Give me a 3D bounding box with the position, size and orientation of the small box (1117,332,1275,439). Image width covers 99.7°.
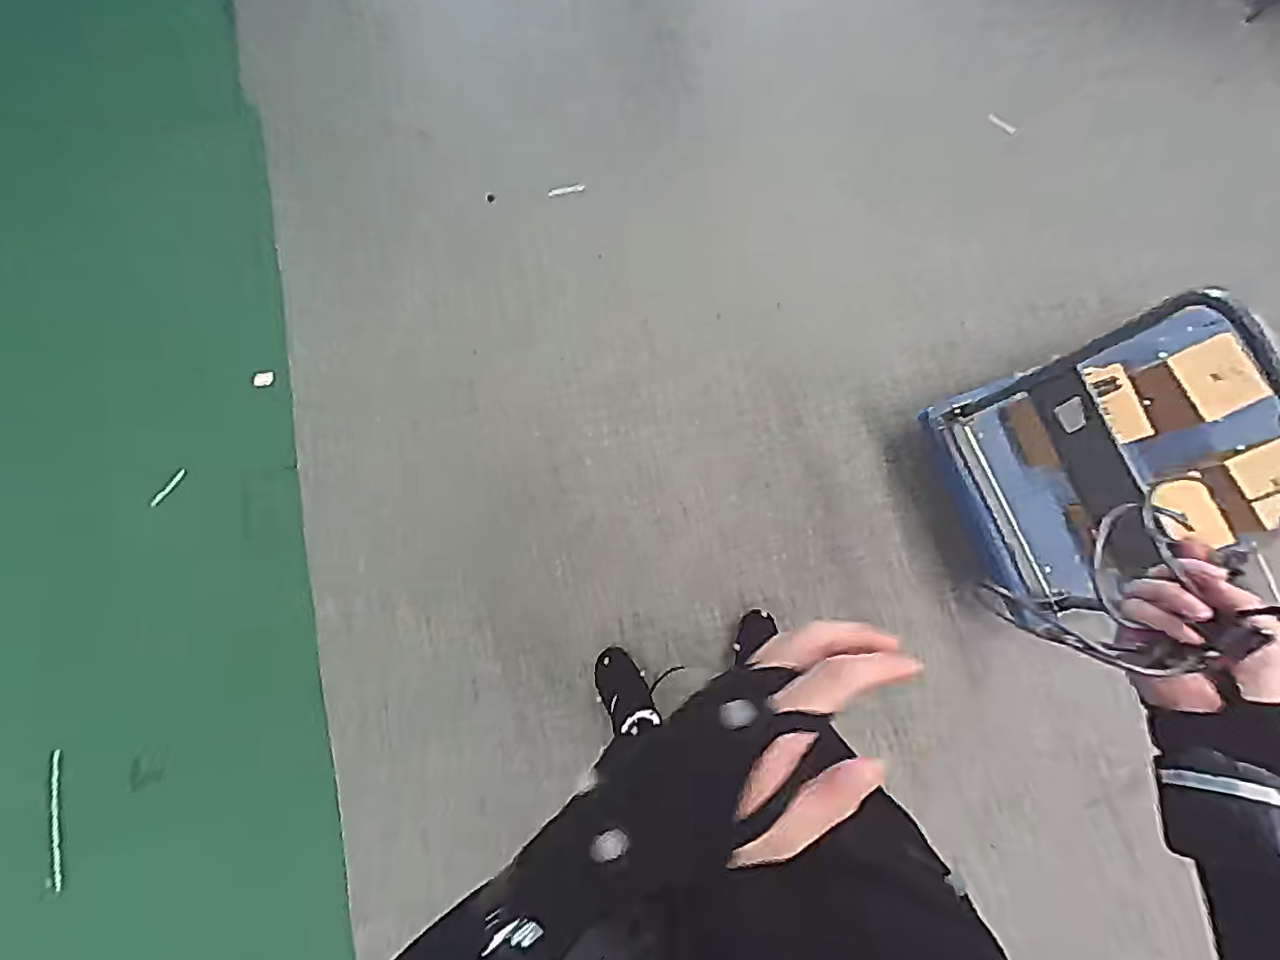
[{"bbox_3d":[1.289,-0.215,1.276,0.179,0.176,0.168,-23,81,-5],"label":"small box"}]

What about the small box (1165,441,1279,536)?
[{"bbox_3d":[1.375,0.022,1.230,0.179,0.176,0.168,-21,79,-4],"label":"small box"}]

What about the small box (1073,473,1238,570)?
[{"bbox_3d":[1.143,0.098,1.215,0.179,0.176,0.168,-18,80,-3],"label":"small box"}]
